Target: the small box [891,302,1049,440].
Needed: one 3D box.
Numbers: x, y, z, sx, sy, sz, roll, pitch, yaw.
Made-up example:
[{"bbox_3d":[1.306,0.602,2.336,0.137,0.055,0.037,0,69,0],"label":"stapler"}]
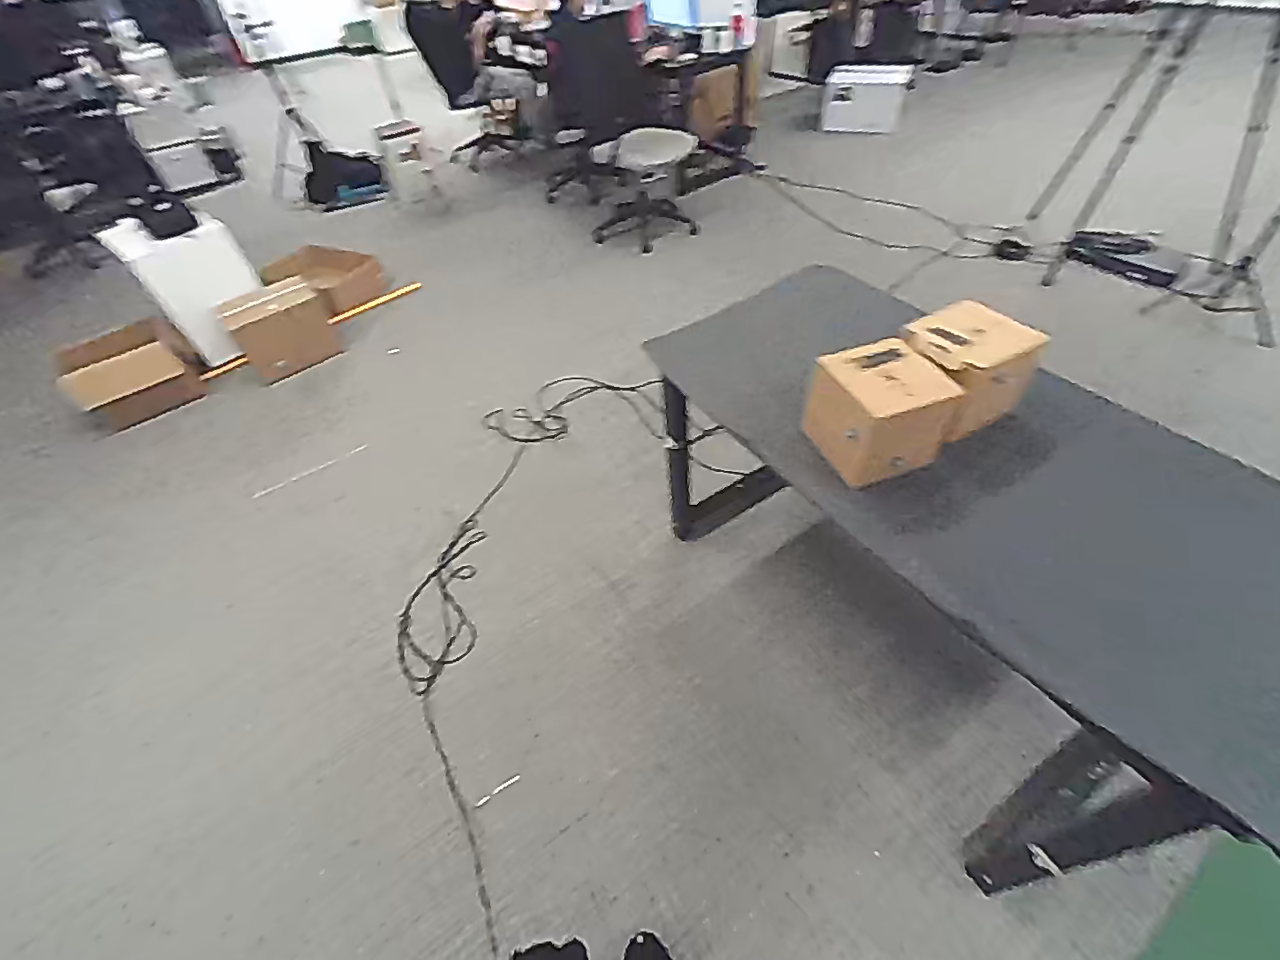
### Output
[{"bbox_3d":[0.604,-0.203,1.020,0.179,0.176,0.168,-24,50,-16],"label":"small box"}]
